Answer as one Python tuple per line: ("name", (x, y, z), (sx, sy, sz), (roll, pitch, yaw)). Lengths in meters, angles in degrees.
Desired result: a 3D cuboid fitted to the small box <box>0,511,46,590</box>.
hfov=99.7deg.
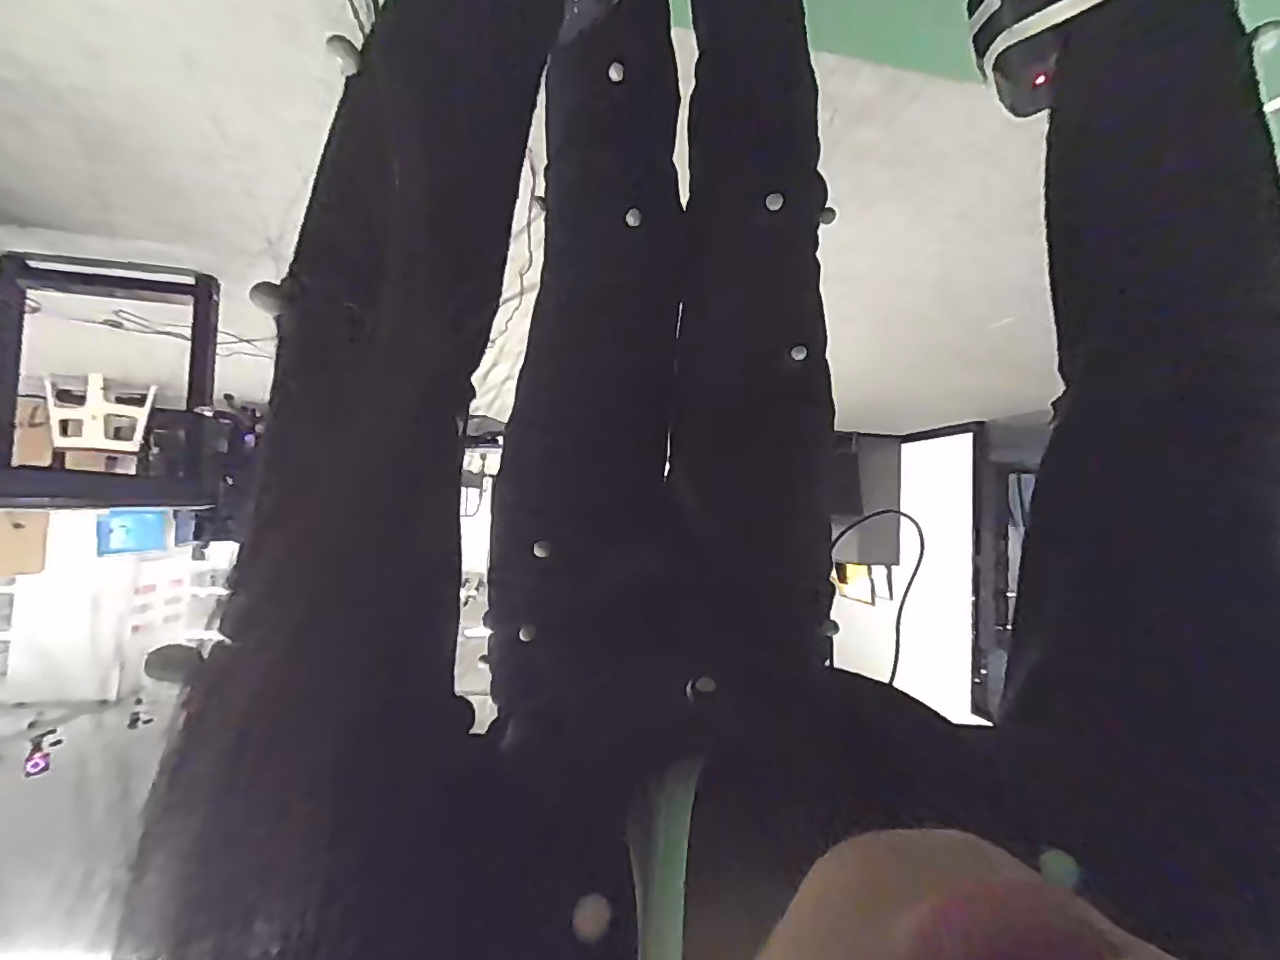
("small box", (-1.463, 0.150, 1.175), (0.179, 0.176, 0.168), (3, 177, -10))
